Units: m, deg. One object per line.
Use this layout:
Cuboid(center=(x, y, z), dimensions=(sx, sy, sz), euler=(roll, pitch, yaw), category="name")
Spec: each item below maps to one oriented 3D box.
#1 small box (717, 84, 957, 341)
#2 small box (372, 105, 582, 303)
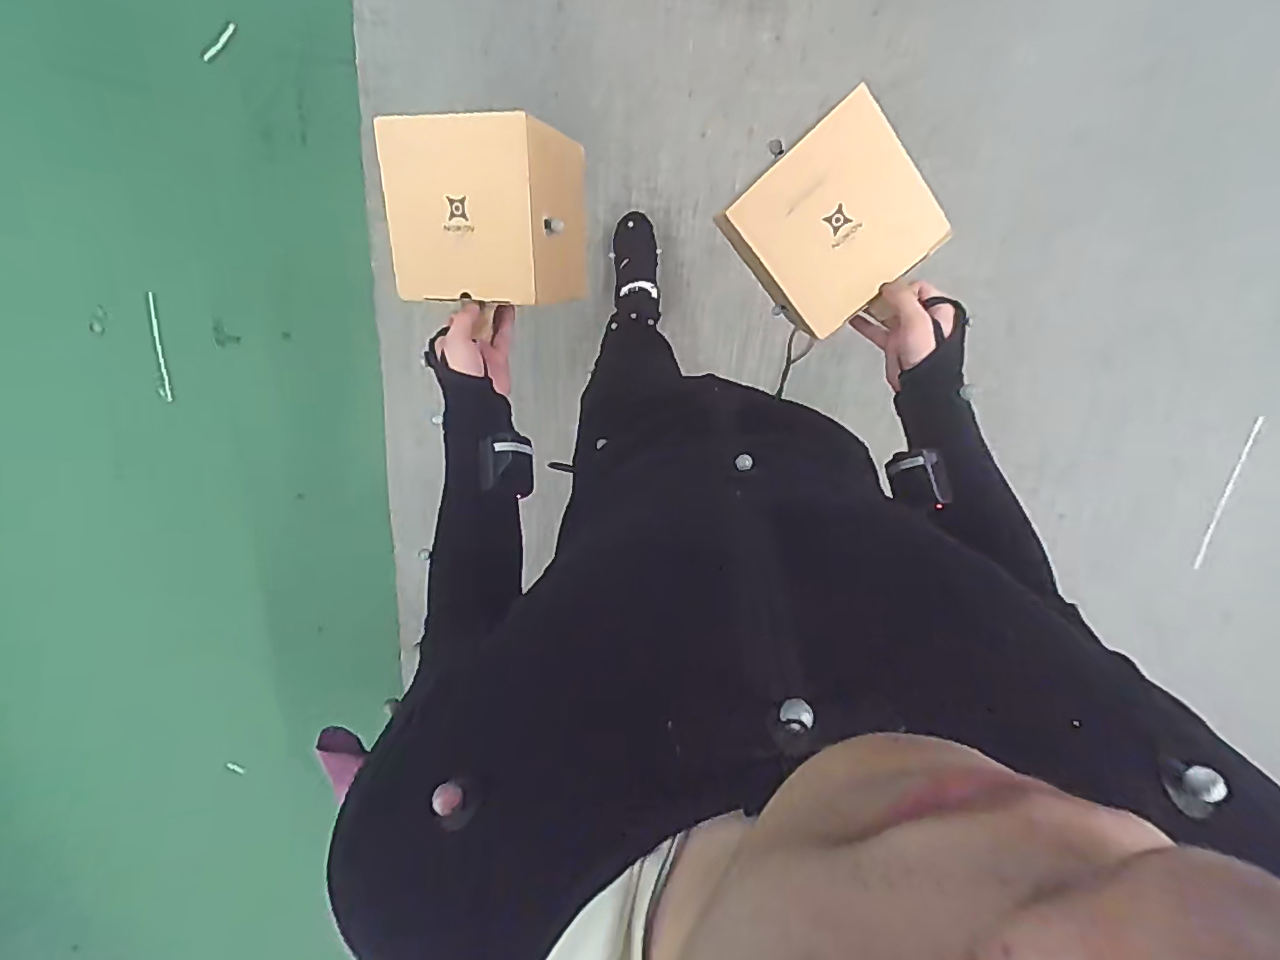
Cuboid(center=(0.205, -0.288, 0.610), dimensions=(0.168, 0.176, 0.179), euler=(-37, 107, 16), category="small box")
Cuboid(center=(-0.169, -0.301, 0.616), dimensions=(0.168, 0.176, 0.179), euler=(6, 112, 11), category="small box")
